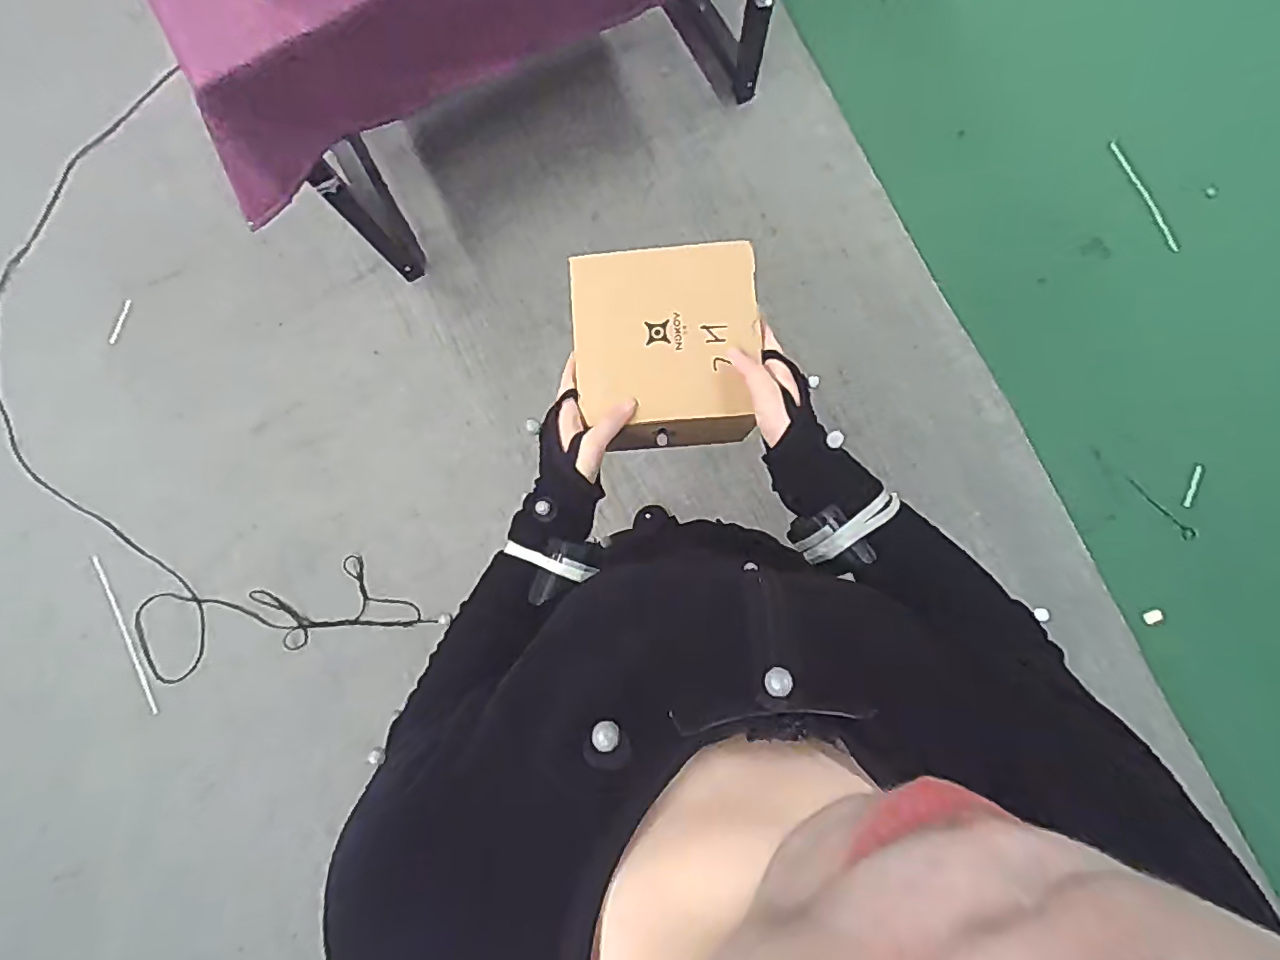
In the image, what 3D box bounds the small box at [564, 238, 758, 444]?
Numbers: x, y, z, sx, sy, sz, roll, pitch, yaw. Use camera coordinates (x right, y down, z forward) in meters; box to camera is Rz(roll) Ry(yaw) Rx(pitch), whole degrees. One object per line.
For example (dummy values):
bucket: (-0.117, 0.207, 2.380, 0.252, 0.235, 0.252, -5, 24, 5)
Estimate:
small box: (0.023, -0.134, 0.581, 0.179, 0.176, 0.168, -4, 86, 3)
